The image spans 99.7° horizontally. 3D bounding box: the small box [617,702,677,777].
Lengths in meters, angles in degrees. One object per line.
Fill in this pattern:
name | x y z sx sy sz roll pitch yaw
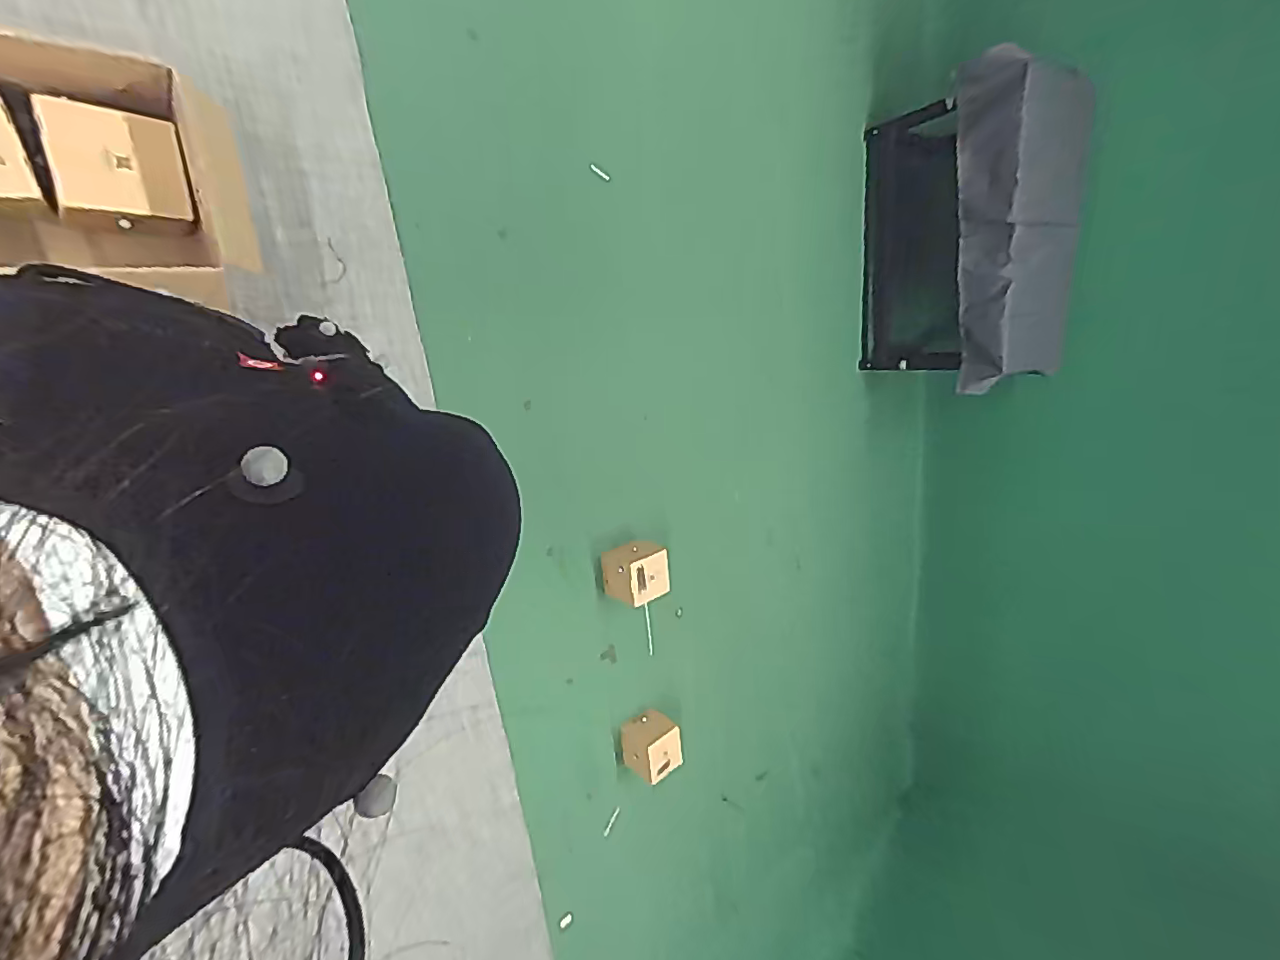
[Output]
small box | 0.027 1.027 2.152 0.168 0.176 0.179 -17 109 -38
